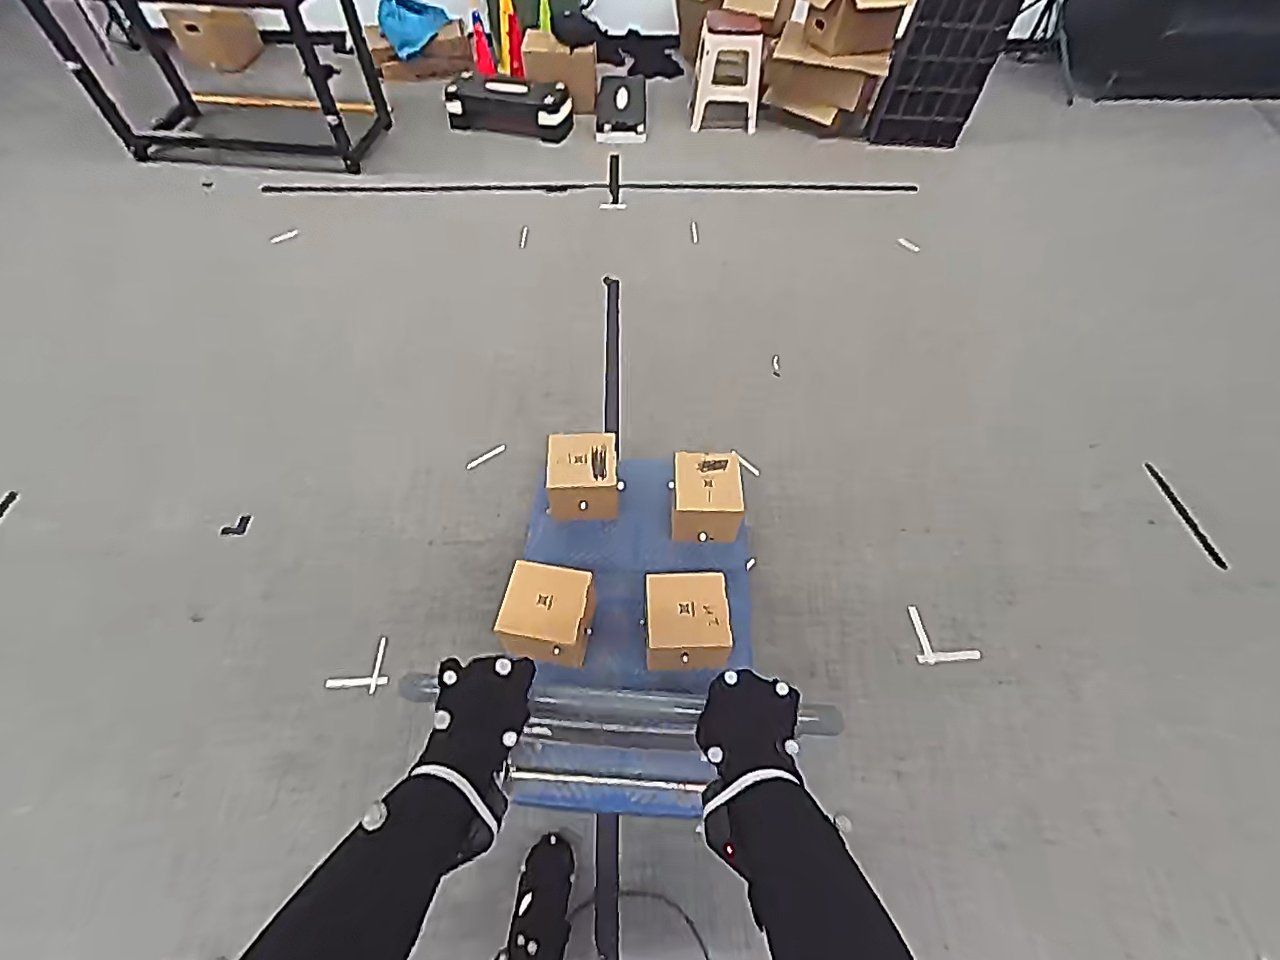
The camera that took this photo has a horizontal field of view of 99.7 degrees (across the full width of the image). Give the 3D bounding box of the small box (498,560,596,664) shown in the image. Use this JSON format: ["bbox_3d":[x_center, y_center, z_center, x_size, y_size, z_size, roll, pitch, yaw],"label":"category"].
[{"bbox_3d":[-0.202,0.305,1.233,0.179,0.176,0.168,9,55,3],"label":"small box"}]

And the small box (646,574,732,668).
[{"bbox_3d":[0.103,0.323,1.228,0.179,0.176,0.168,0,56,-2],"label":"small box"}]

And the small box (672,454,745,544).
[{"bbox_3d":[0.173,0.051,1.416,0.168,0.176,0.179,1,57,0],"label":"small box"}]
